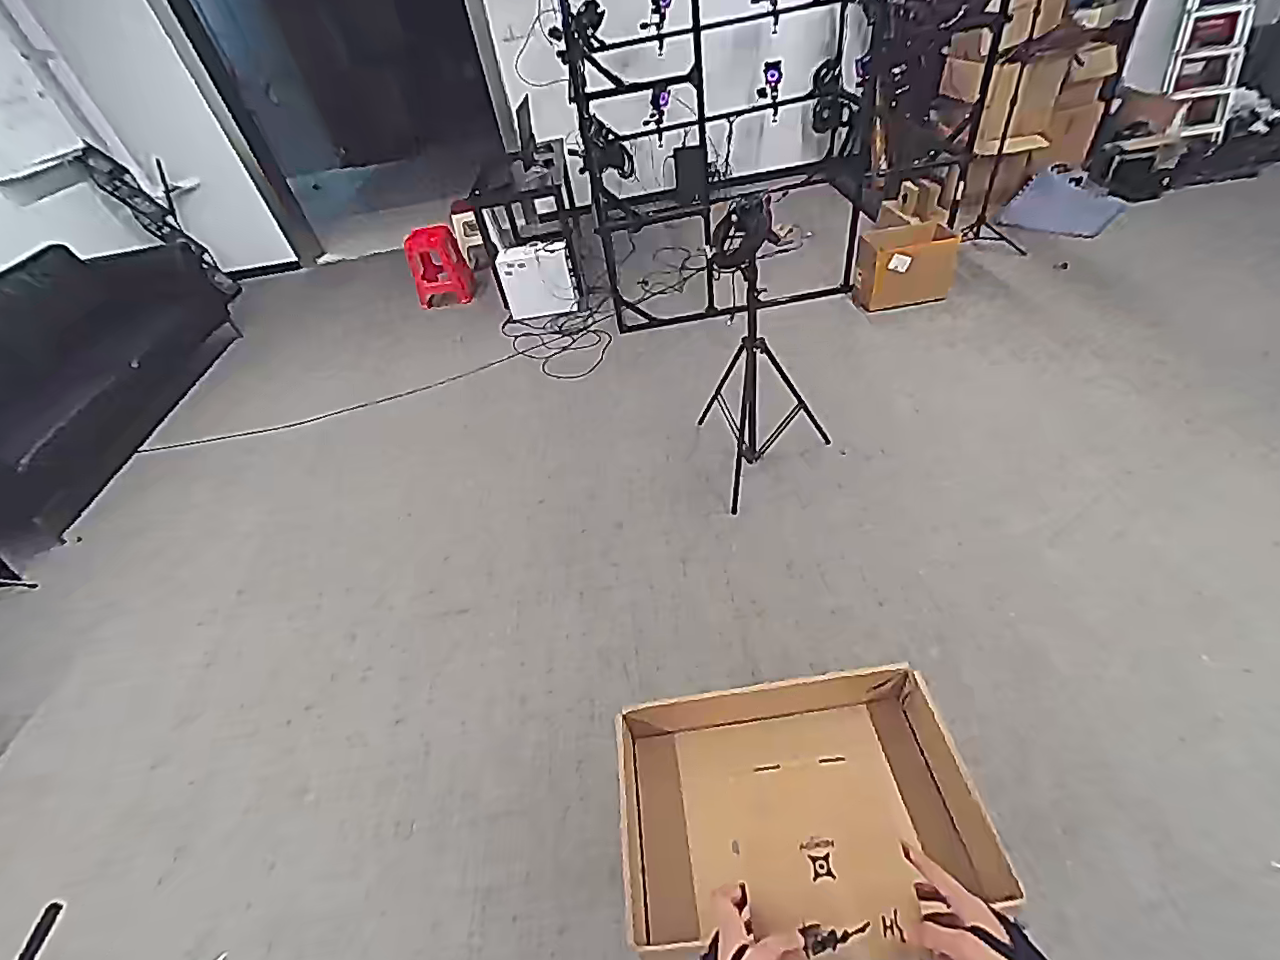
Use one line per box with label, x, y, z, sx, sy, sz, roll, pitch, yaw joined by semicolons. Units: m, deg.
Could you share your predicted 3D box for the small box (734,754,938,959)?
small box;0.206;0.432;0.618;0.168;0.176;0.179;-11;53;8
